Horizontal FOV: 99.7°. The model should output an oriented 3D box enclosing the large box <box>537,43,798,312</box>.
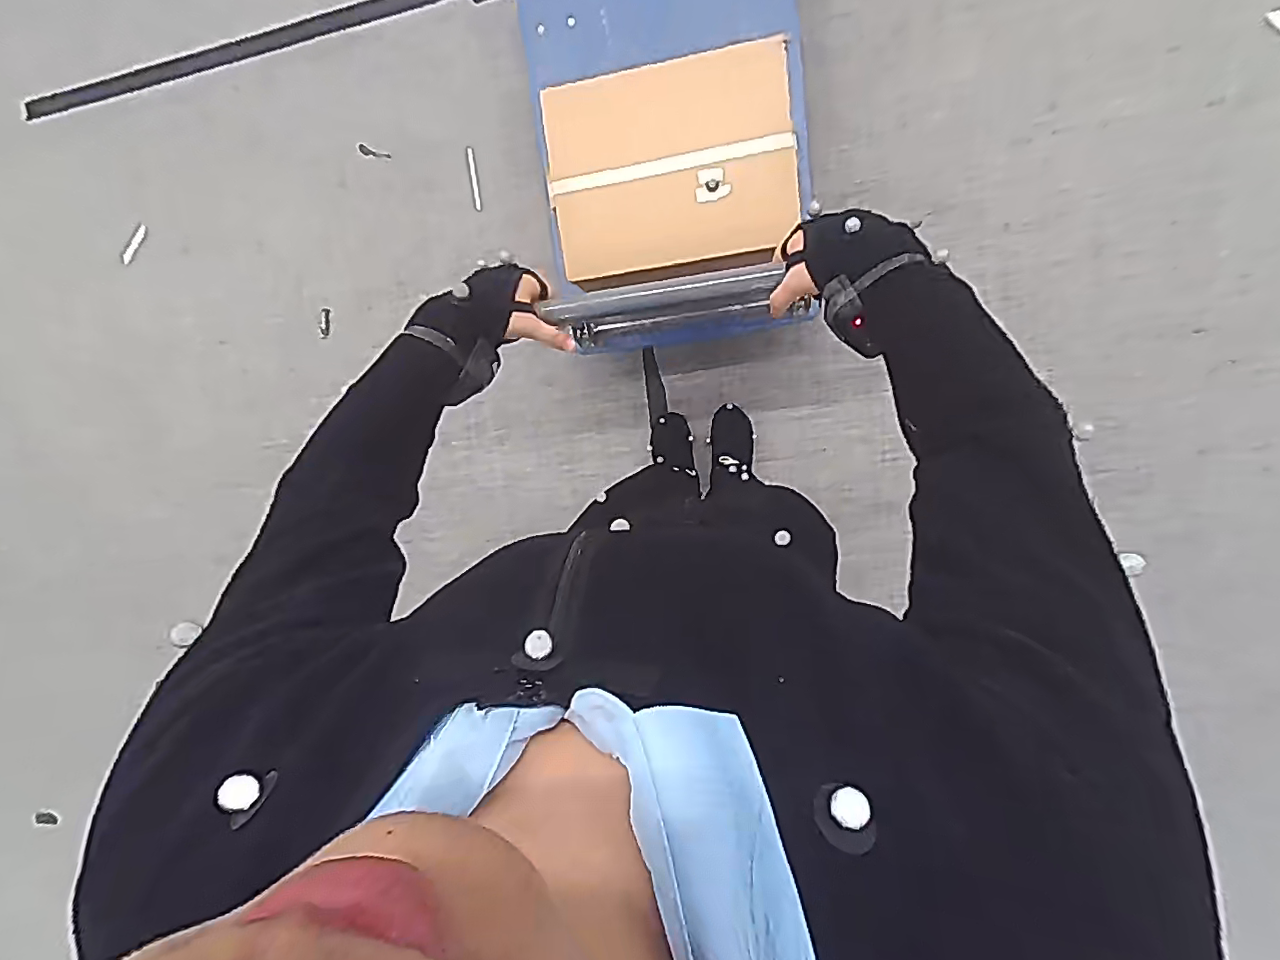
[{"bbox_3d":[0.060,-0.531,1.038,0.408,0.320,0.320,-7,99,8],"label":"large box"}]
